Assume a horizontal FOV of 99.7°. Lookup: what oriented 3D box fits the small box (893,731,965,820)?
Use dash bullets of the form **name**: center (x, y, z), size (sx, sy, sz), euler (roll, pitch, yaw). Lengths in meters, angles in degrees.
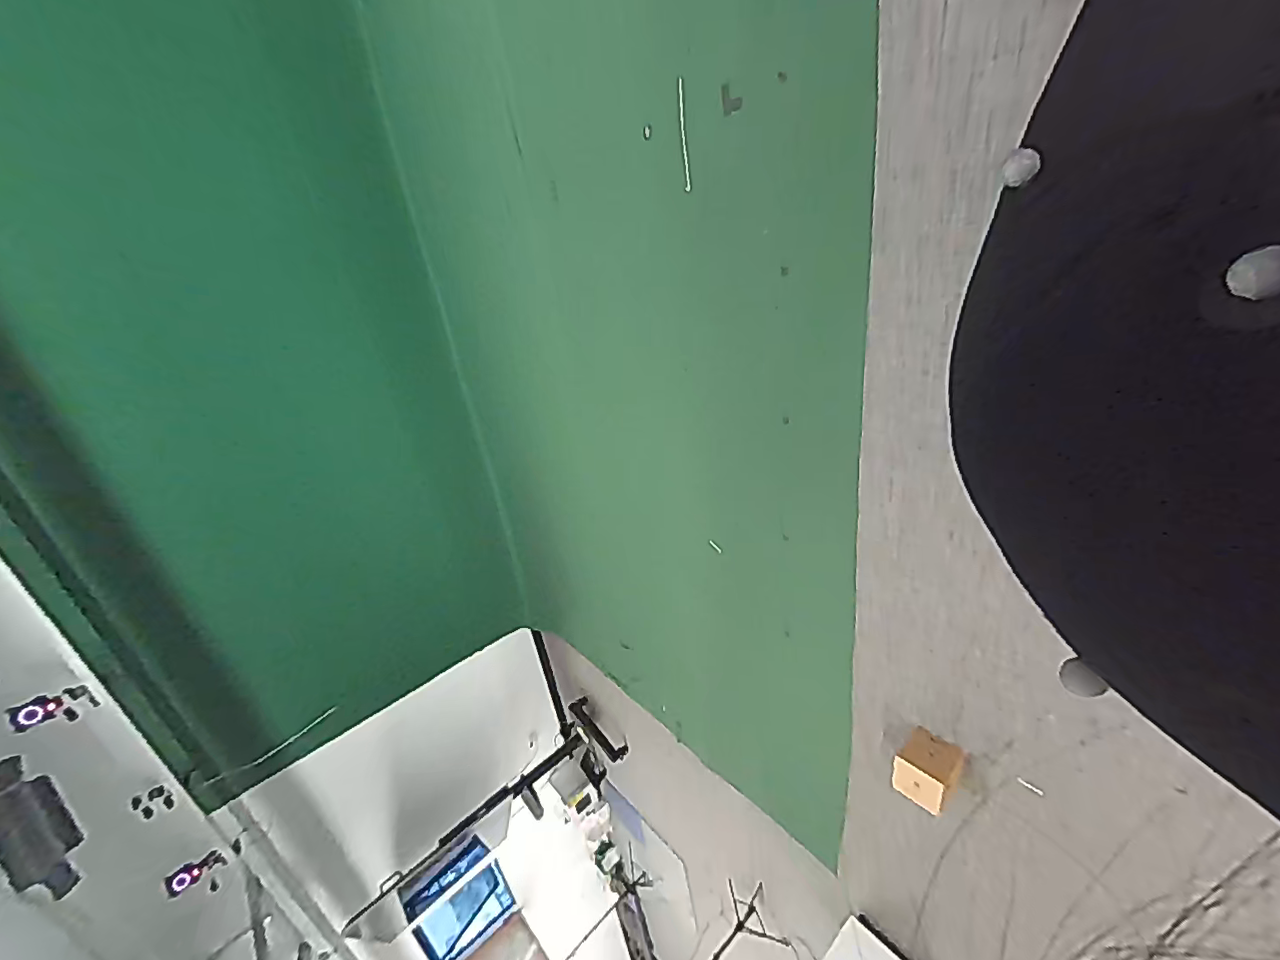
- **small box**: center (1.019, 1.033, 1.905), size (0.168, 0.176, 0.179), euler (23, 129, 47)
